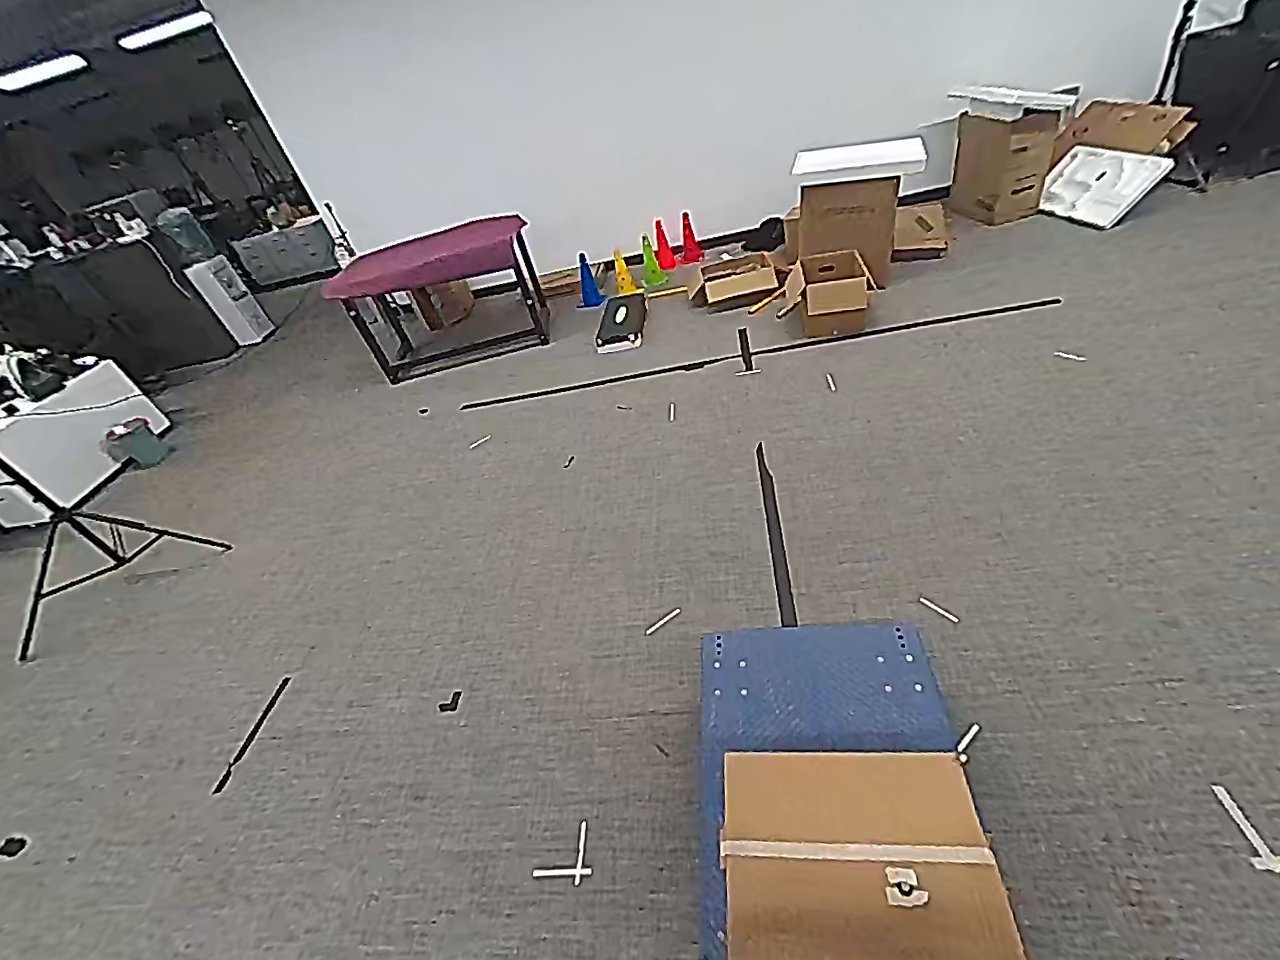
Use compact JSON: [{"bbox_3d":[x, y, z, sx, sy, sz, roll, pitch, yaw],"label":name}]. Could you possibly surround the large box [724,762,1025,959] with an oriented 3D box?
[{"bbox_3d":[0.366,0.717,0.939,0.408,0.320,0.320,-6,40,12],"label":"large box"}]
